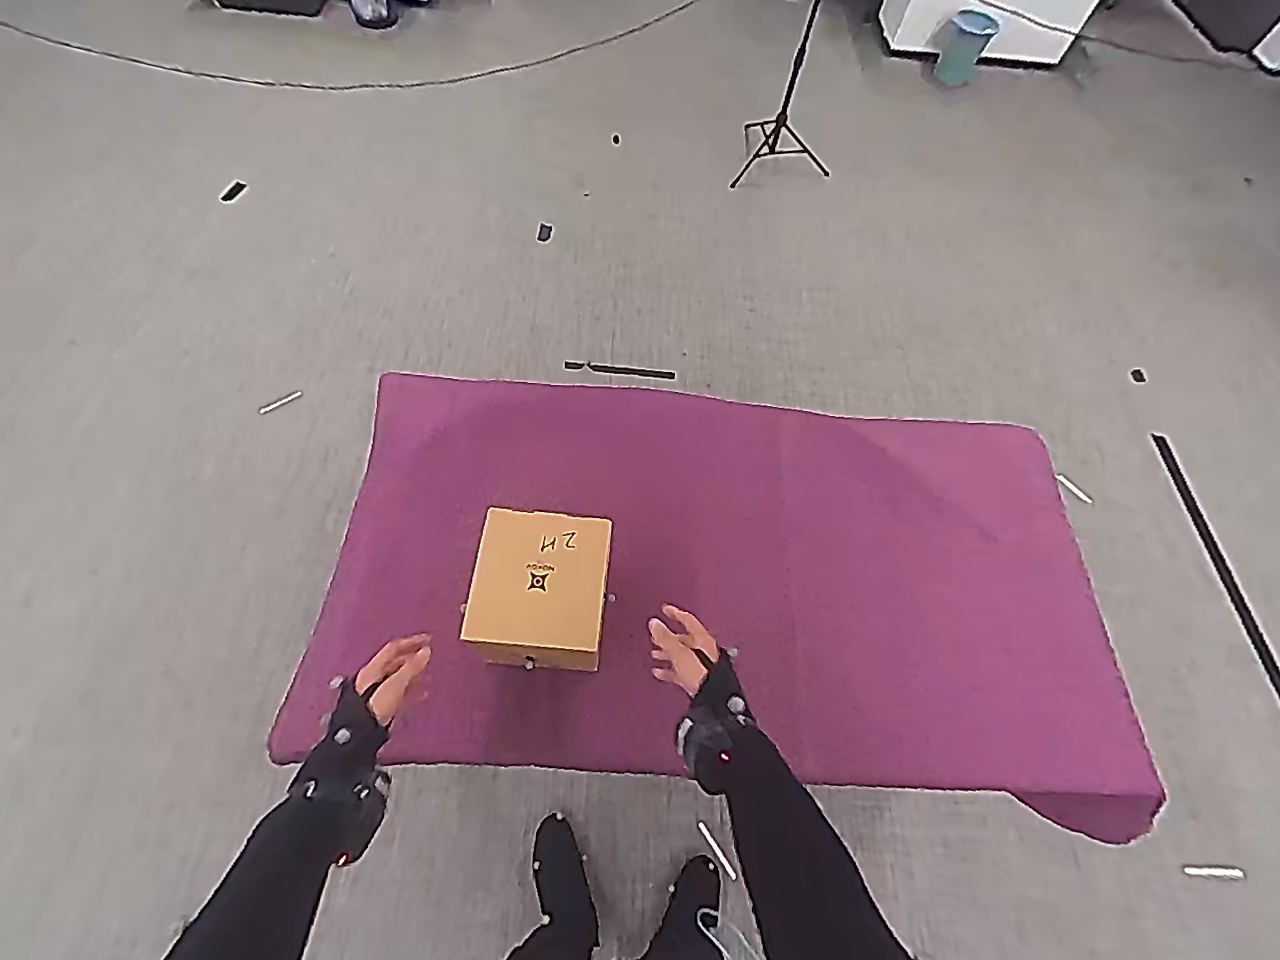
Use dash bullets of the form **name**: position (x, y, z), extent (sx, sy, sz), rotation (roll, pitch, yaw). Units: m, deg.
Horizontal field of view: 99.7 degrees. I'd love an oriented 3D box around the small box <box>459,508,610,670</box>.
- **small box**: position (-0.133, 0.158, 0.748), extent (0.168, 0.176, 0.179), rotation (7, 63, -2)
